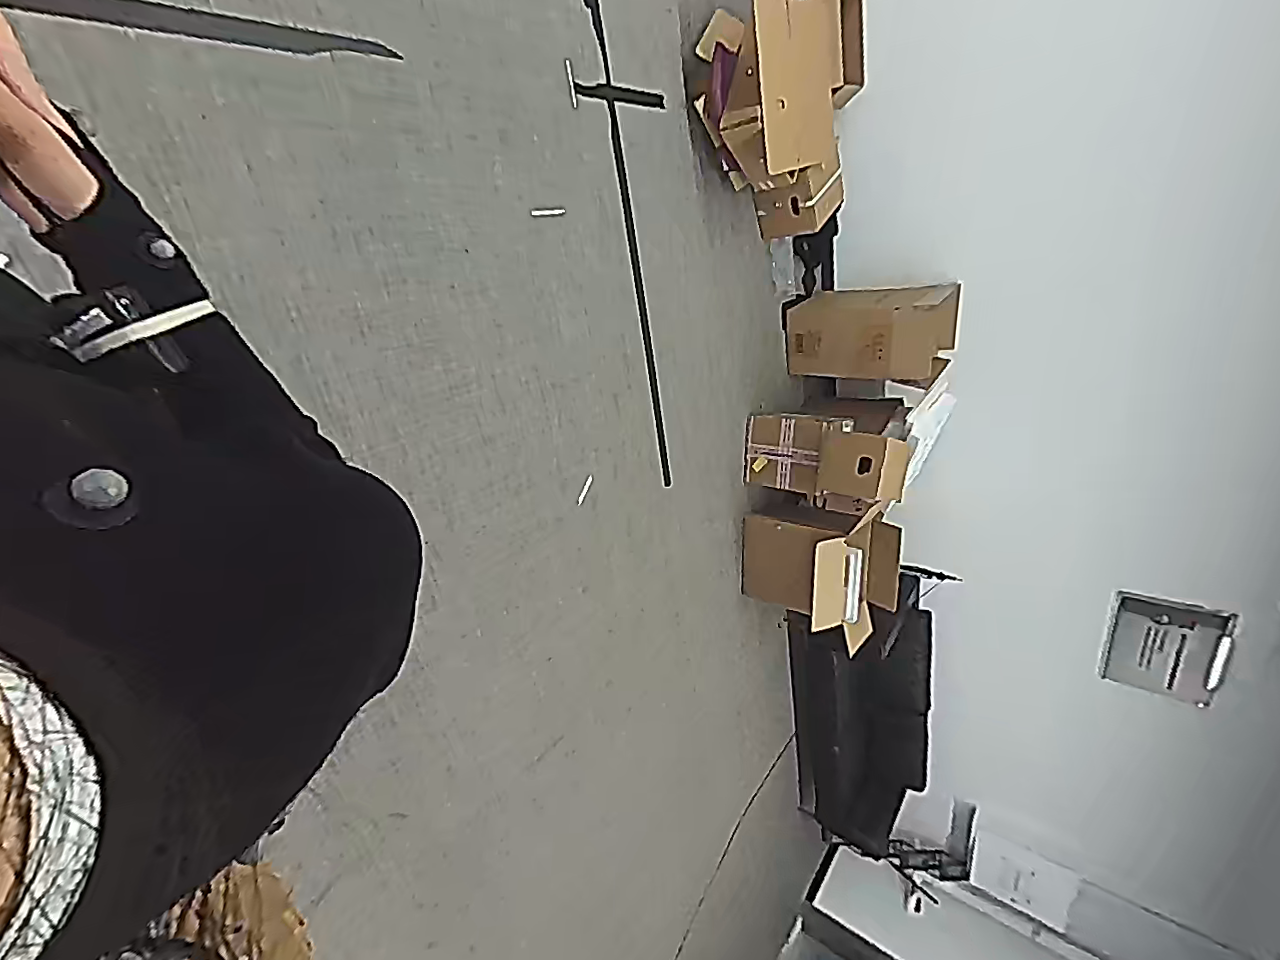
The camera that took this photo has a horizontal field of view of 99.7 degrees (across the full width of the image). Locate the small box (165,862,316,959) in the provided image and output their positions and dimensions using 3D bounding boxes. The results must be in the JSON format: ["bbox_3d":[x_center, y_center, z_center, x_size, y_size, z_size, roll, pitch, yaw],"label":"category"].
[{"bbox_3d":[-0.770,0.900,1.046,0.179,0.176,0.168,-24,114,-47],"label":"small box"}]

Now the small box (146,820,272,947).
[{"bbox_3d":[-0.897,0.873,1.143,0.179,0.176,0.168,-20,112,-48],"label":"small box"}]

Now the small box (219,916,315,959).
[{"bbox_3d":[-0.650,0.921,0.935,0.168,0.176,0.179,-25,115,-48],"label":"small box"}]
